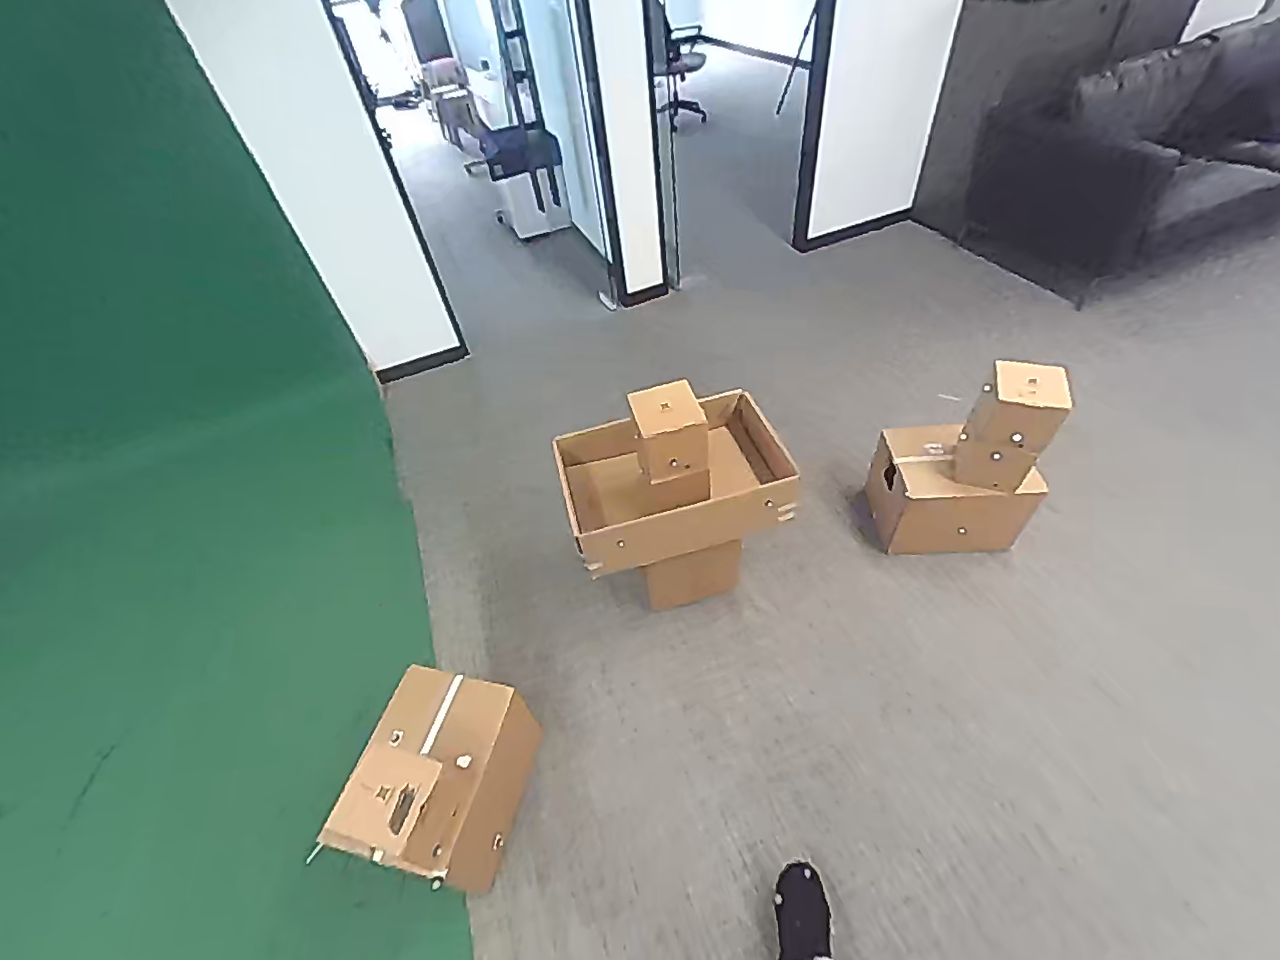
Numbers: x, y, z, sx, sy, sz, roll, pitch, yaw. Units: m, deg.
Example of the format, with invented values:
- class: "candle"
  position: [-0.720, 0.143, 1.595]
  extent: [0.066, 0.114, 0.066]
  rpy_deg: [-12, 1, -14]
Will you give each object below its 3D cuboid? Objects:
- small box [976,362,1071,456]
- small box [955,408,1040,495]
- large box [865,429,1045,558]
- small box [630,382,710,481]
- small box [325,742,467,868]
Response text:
- class: "small box"
  position: [1.044, -0.196, 1.489]
  extent: [0.168, 0.176, 0.179]
  rpy_deg: [11, 52, 18]
- class: "small box"
  position: [1.057, -0.085, 1.612]
  extent: [0.168, 0.176, 0.179]
  rpy_deg: [12, 51, 18]
- class: "large box"
  position: [1.030, 0.047, 1.828]
  extent: [0.408, 0.320, 0.320]
  rpy_deg: [-4, 46, 6]
- class: "small box"
  position: [0.078, -0.125, 1.415]
  extent: [0.168, 0.176, 0.179]
  rpy_deg: [-15, 48, -5]
- class: "small box"
  position: [-0.486, 0.670, 1.110]
  extent: [0.179, 0.176, 0.168]
  rpy_deg: [9, 48, 15]
